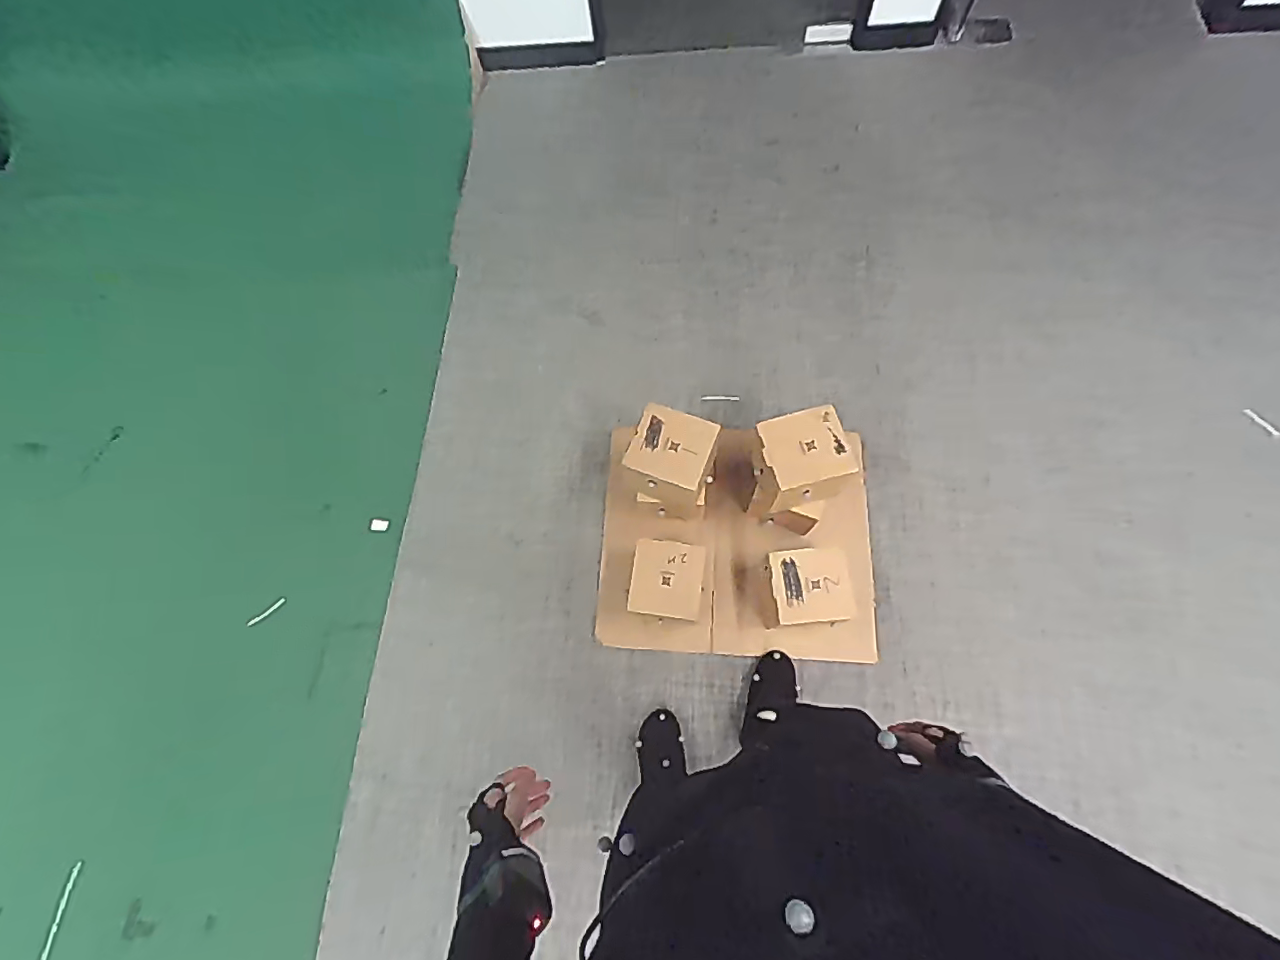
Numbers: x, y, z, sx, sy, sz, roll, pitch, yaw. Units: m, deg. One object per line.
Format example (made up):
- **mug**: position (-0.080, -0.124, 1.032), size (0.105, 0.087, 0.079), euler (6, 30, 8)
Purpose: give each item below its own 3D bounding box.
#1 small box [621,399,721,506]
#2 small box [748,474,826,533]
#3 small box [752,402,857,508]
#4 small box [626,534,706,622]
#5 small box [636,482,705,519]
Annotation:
- **small box**: position (0.073, -0.056, 1.252), size (0.179, 0.176, 0.168), euler (21, 73, 10)
- **small box**: position (0.382, 0.013, 1.375), size (0.168, 0.176, 0.179), euler (20, 74, 11)
- **small box**: position (0.360, -0.049, 1.225), size (0.179, 0.176, 0.168), euler (-14, 70, 0)
- **small box**: position (0.067, 0.245, 1.321), size (0.168, 0.176, 0.179), euler (8, 71, 6)
- **small box**: position (0.086, -0.005, 1.408), size (0.168, 0.176, 0.179), euler (4, 71, 6)
